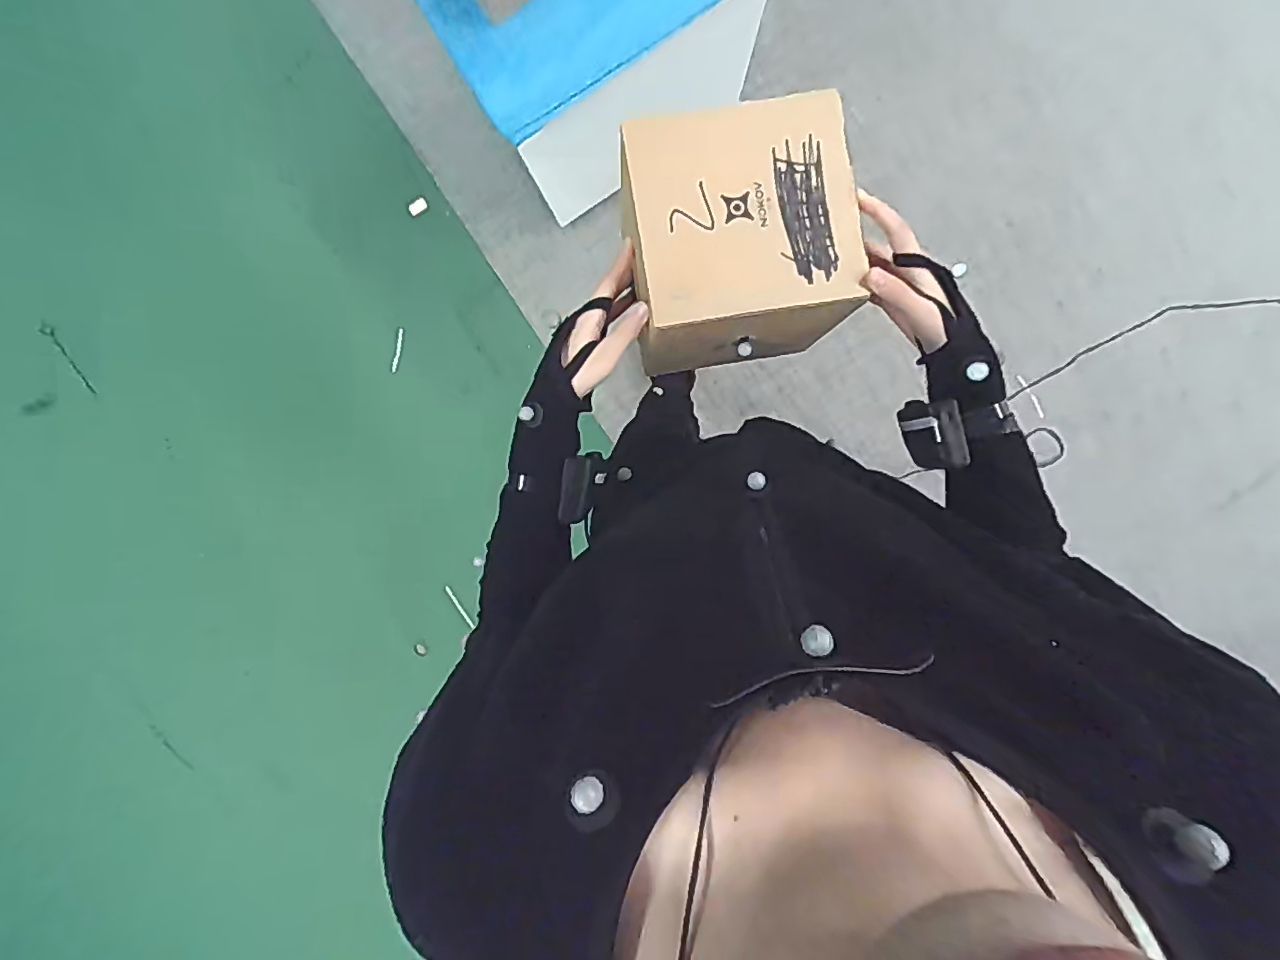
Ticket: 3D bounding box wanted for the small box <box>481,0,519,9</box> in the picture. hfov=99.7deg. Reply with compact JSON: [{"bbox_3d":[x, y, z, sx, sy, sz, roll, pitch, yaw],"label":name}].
[{"bbox_3d":[-0.188,-0.768,0.693,0.168,0.176,0.179,-31,95,5],"label":"small box"}]
